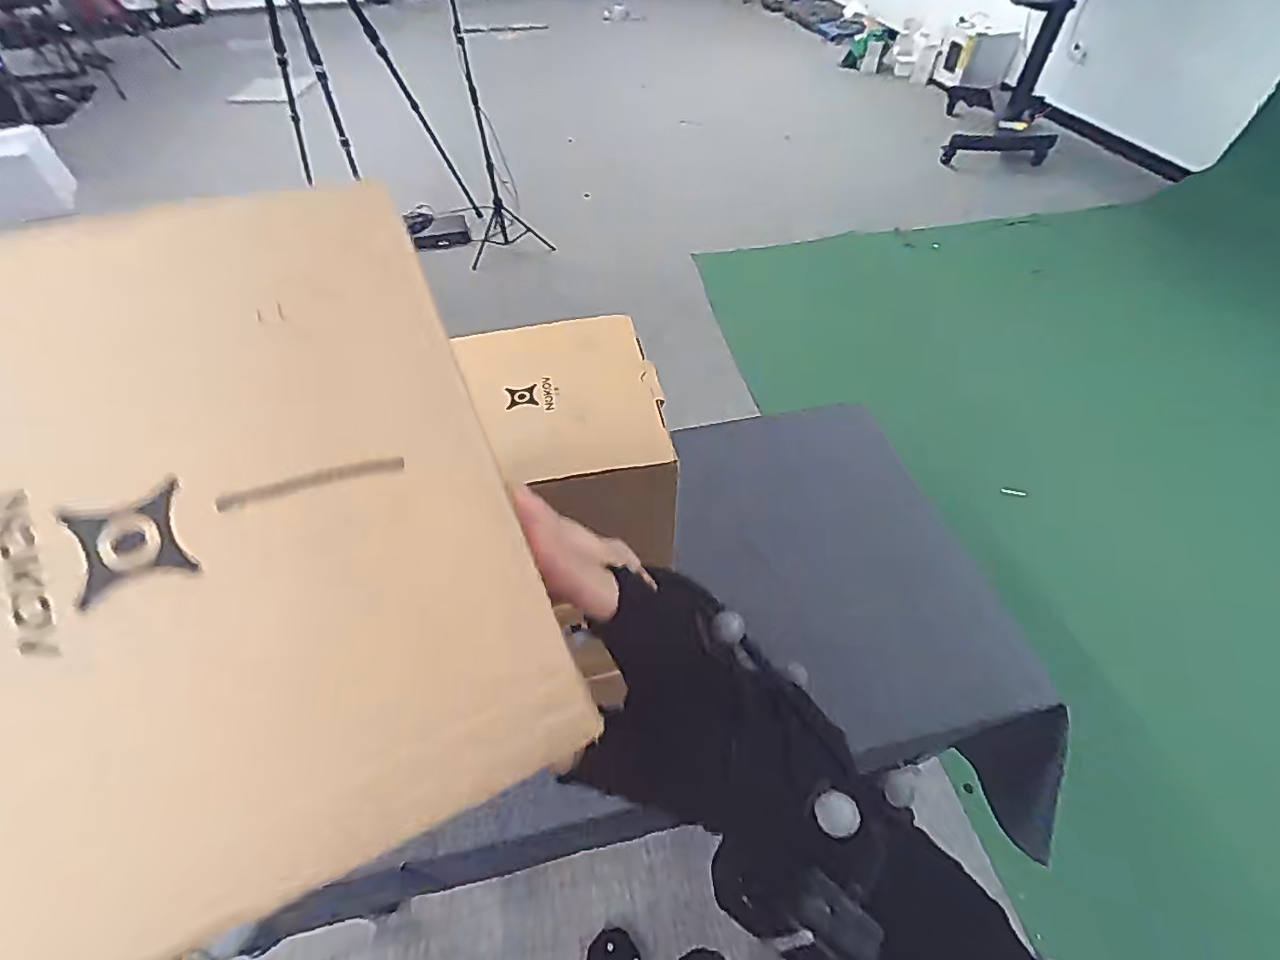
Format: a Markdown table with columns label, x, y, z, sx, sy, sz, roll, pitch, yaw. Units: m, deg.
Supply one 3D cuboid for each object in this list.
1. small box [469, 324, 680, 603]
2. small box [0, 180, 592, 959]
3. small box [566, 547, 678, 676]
| label | x | y | z | sx | sy | sz | roll | pitch | yaw |
| --- | --- | --- | --- | --- | --- | --- | --- | --- | --- |
| small box | -0.073 | -0.006 | 0.457 | 0.179 | 0.176 | 0.168 | -9 | 50 | -7 |
| small box | -0.132 | 0.033 | 0.198 | 0.179 | 0.176 | 0.168 | -19 | 79 | -17 |
| small box | -0.066 | 0.102 | 0.581 | 0.179 | 0.176 | 0.168 | -11 | 51 | -7 |
